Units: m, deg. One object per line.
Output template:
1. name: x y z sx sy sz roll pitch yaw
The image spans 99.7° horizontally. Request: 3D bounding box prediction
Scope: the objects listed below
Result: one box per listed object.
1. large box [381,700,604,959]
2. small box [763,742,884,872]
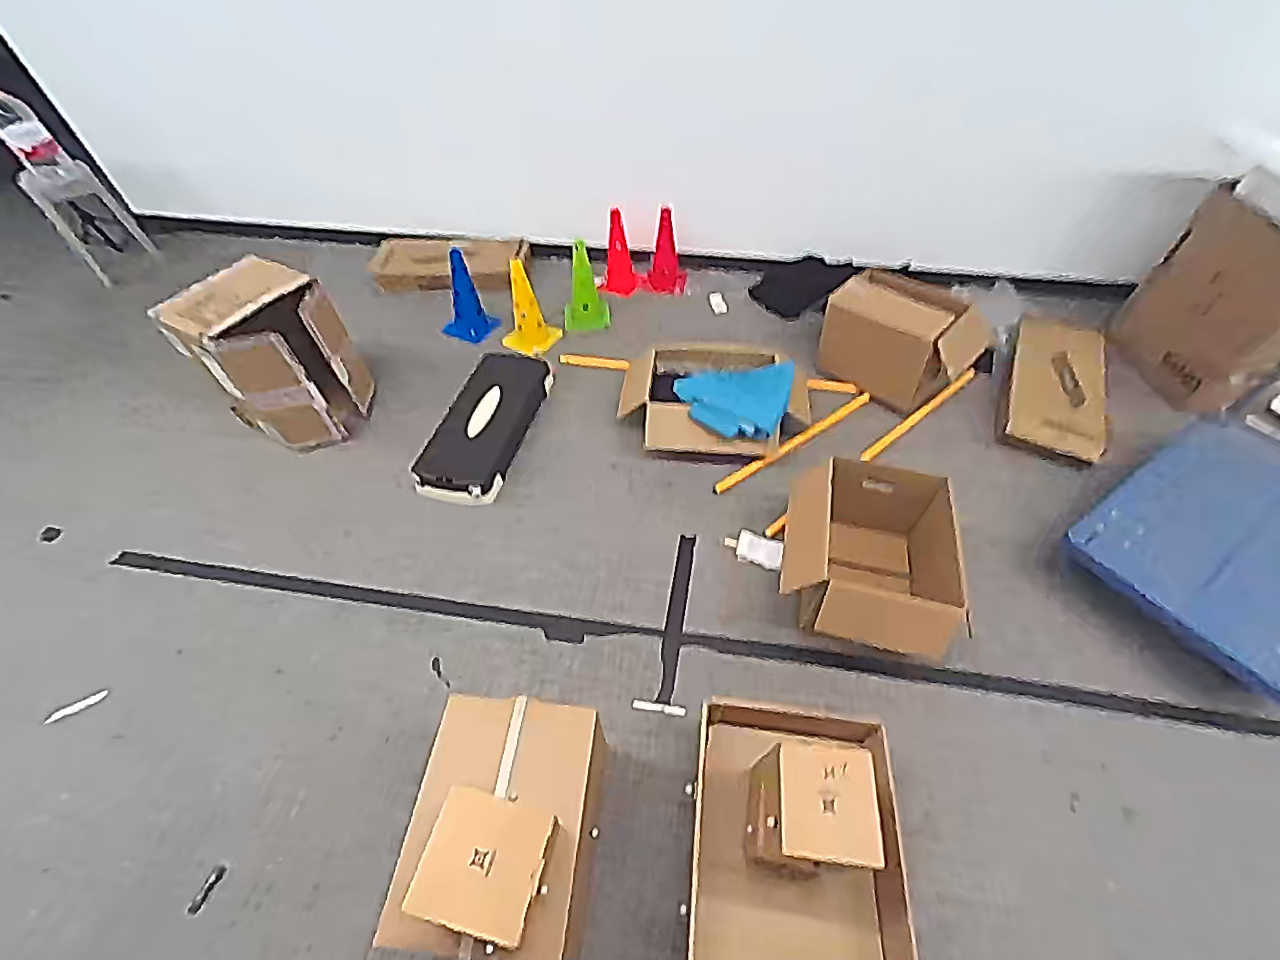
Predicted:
1. large box: -0.252 0.705 1.100 0.320 0.320 0.408 3 52 5
2. small box: 0.324 0.600 0.987 0.168 0.176 0.179 6 53 4
